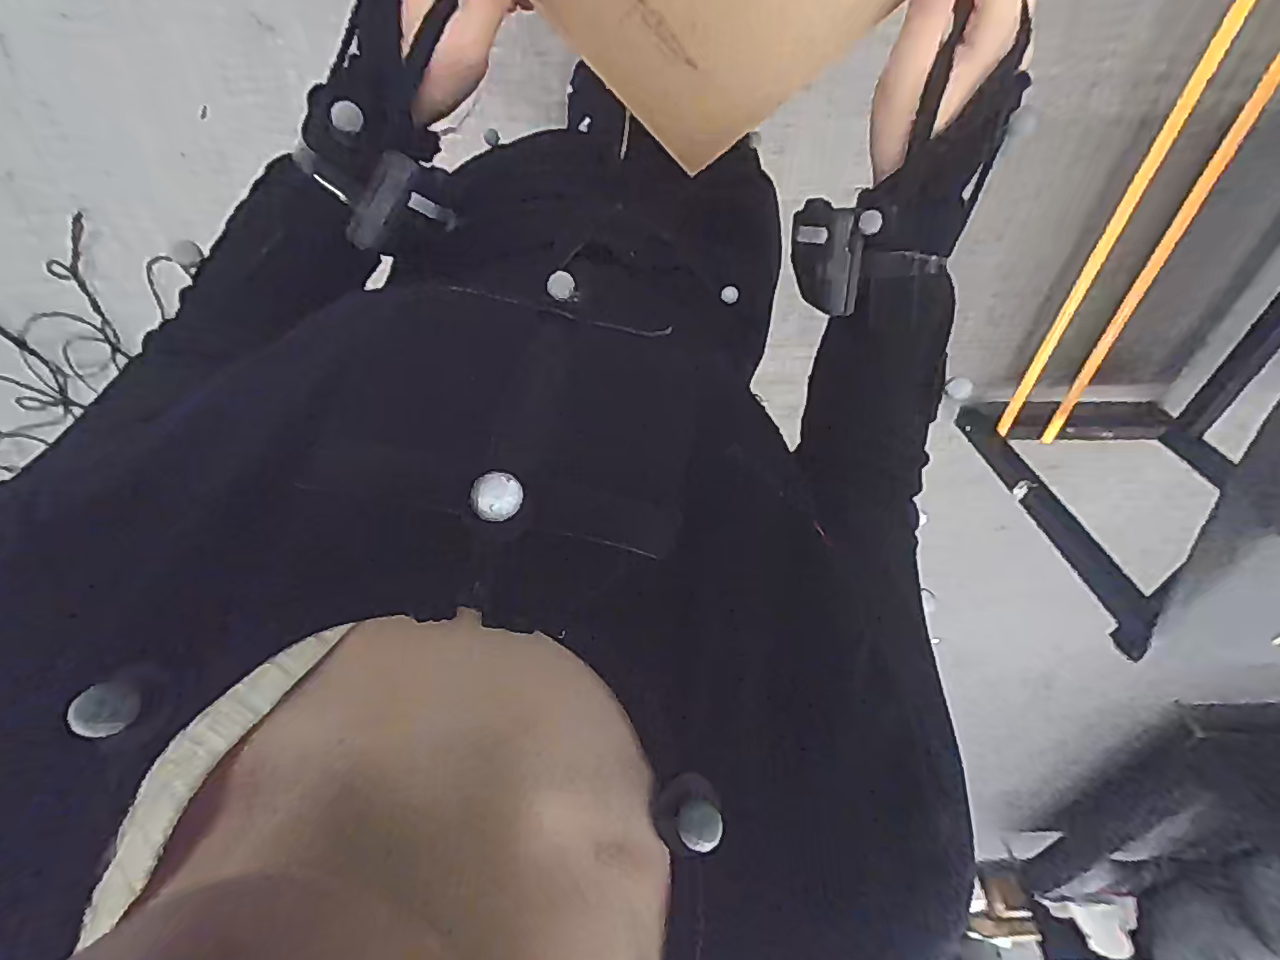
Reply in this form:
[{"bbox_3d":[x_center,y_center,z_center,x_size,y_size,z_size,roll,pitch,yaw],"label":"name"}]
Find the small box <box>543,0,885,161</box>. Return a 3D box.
[{"bbox_3d":[0.046,-0.332,0.287,0.168,0.176,0.179,30,147,-34],"label":"small box"}]
